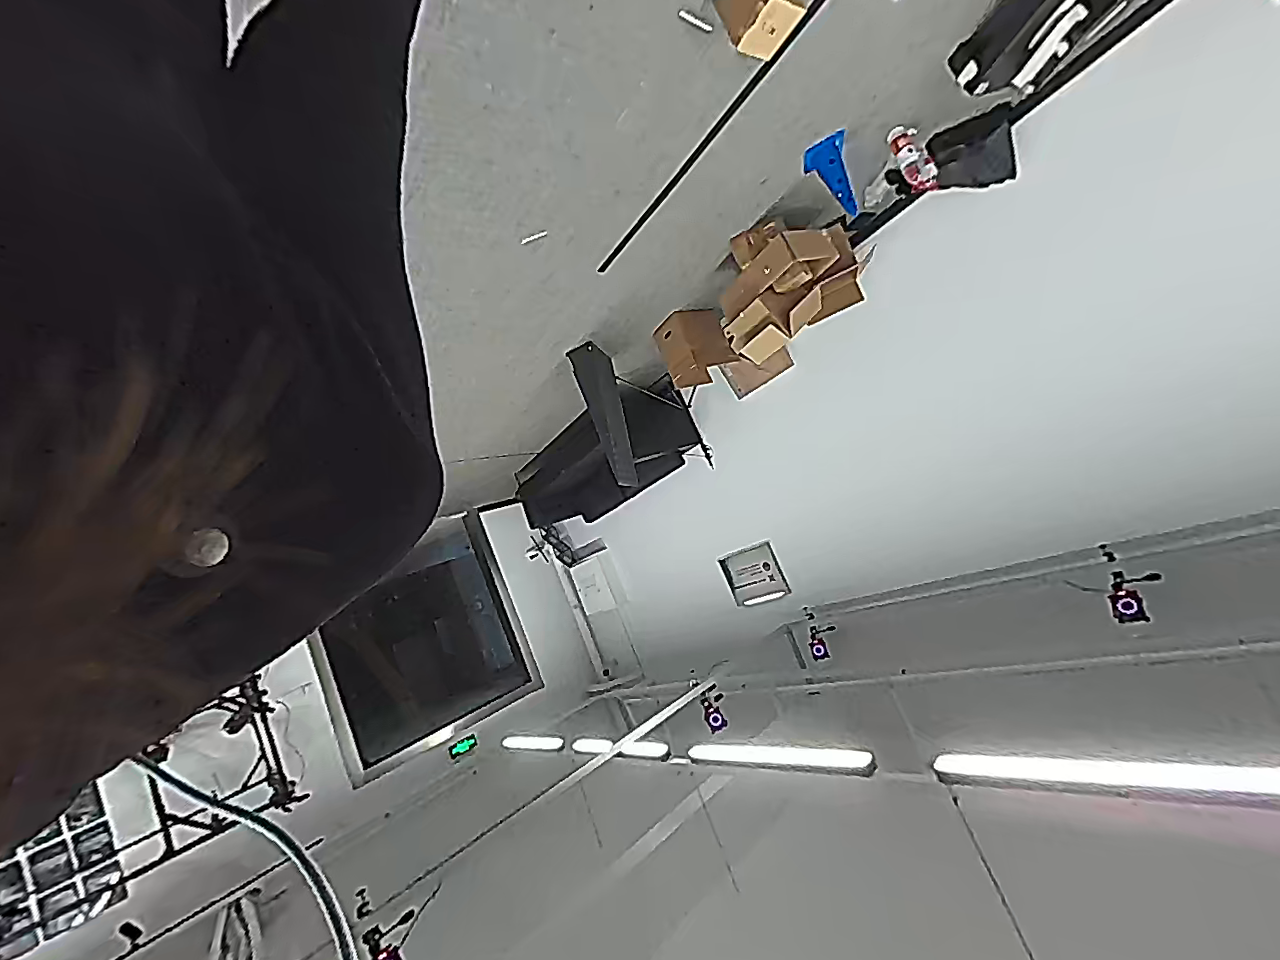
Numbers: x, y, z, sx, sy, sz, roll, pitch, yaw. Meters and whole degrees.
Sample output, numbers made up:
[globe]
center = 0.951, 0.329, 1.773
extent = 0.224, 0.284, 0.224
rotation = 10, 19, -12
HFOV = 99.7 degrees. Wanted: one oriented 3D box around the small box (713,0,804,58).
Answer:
[small box]
center = 0.354, -1.438, 1.633
extent = 0.179, 0.176, 0.168
rotation = -17, 170, -37
